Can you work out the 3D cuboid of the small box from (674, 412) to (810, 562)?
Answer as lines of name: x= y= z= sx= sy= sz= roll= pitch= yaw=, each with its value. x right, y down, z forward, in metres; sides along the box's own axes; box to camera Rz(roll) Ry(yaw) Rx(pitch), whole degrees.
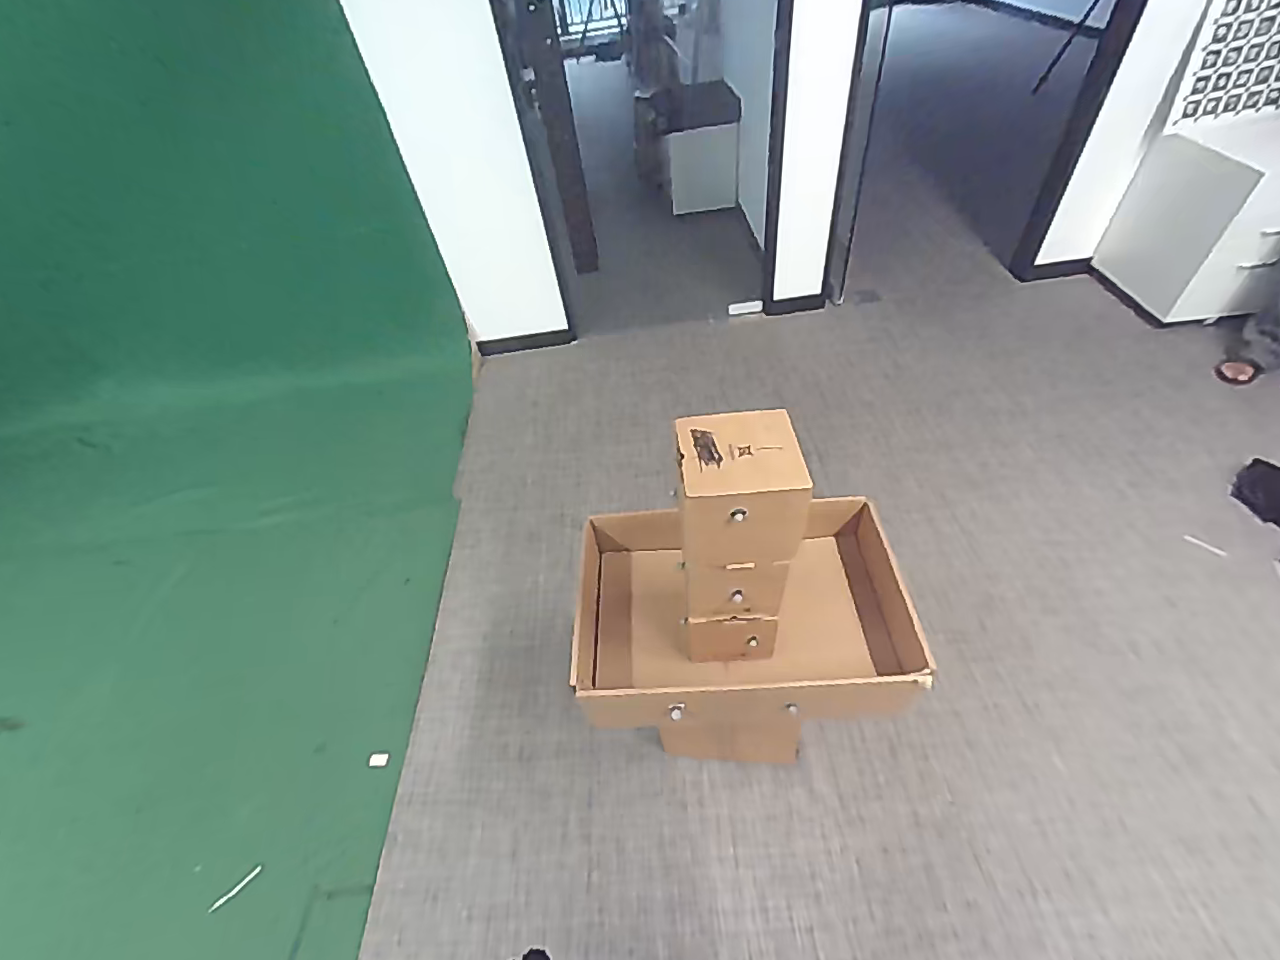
small box: x=0.149 y=0.015 z=0.845 sx=0.179 sy=0.176 sz=0.168 roll=-4 pitch=47 yaw=1

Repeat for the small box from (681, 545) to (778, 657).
small box: x=0.173 y=0.241 z=1.082 sx=0.168 sy=0.176 sz=0.179 roll=-4 pitch=45 yaw=2

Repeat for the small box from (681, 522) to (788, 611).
small box: x=0.161 y=0.124 z=0.968 sx=0.168 sy=0.176 sz=0.179 roll=-4 pitch=48 yaw=3
